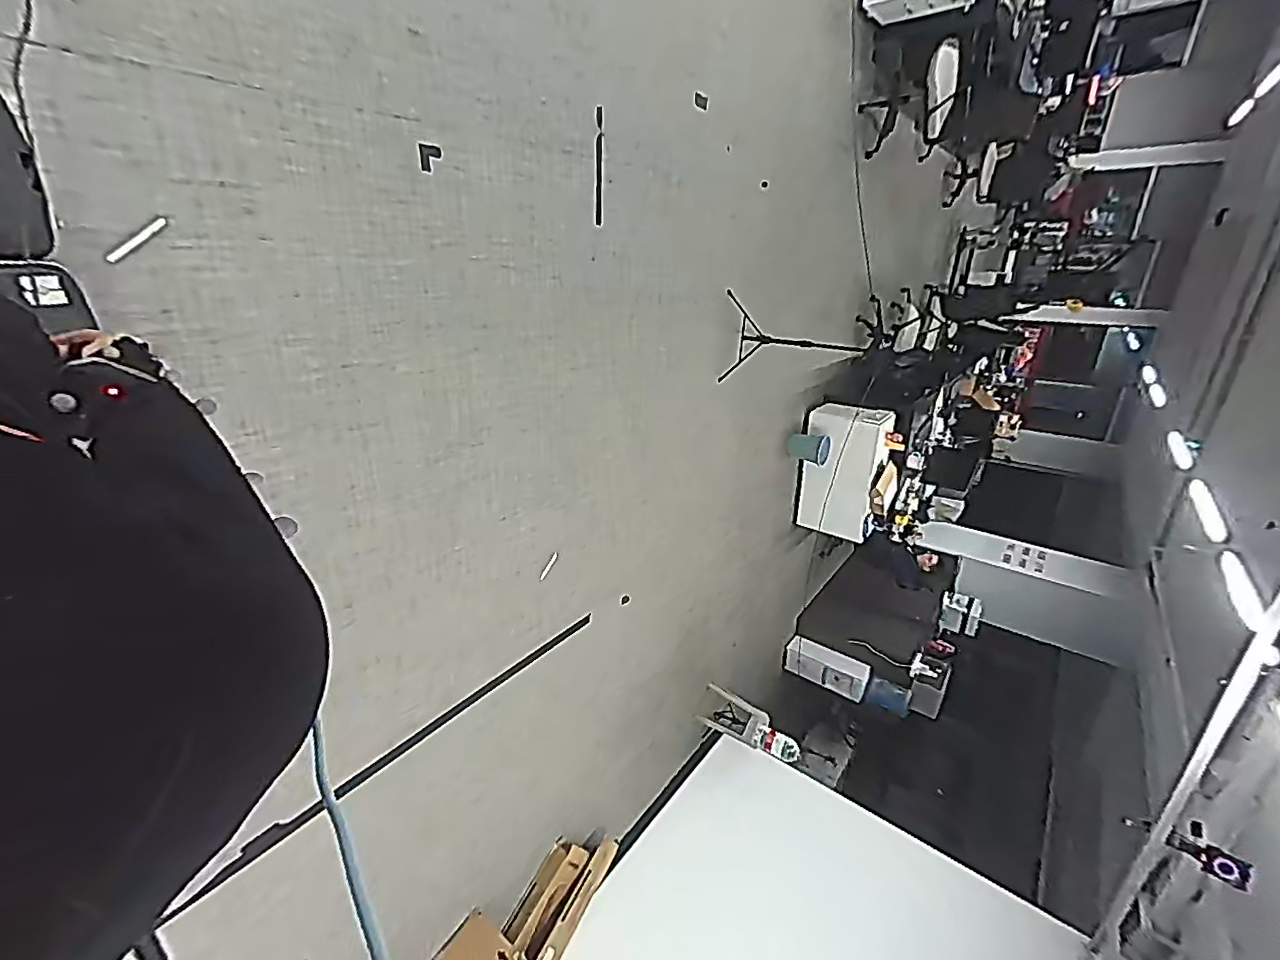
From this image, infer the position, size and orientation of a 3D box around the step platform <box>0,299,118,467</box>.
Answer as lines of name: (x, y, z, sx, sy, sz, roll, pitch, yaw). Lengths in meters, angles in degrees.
step platform: (-1.266, -0.136, 0.818, 0.684, 0.204, 0.286, -17, 116, -48)
